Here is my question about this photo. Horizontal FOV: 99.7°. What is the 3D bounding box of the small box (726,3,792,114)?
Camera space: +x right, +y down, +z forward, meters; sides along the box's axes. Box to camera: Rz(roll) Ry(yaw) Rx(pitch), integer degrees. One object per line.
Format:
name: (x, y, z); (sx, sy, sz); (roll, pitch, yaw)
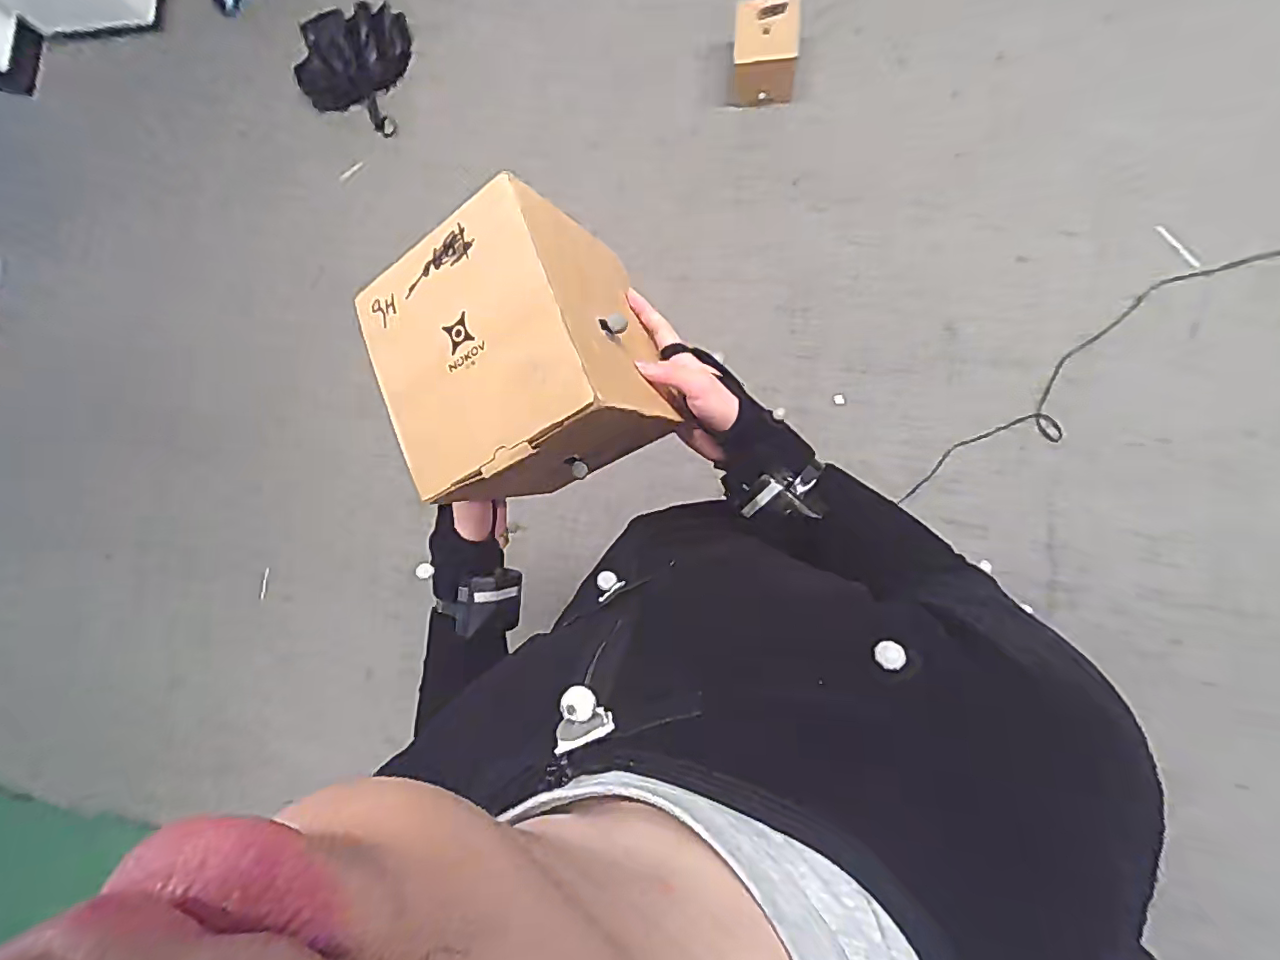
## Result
small box: (0.329, -1.172, 1.514); (0.168, 0.176, 0.179); (2, 88, 11)
